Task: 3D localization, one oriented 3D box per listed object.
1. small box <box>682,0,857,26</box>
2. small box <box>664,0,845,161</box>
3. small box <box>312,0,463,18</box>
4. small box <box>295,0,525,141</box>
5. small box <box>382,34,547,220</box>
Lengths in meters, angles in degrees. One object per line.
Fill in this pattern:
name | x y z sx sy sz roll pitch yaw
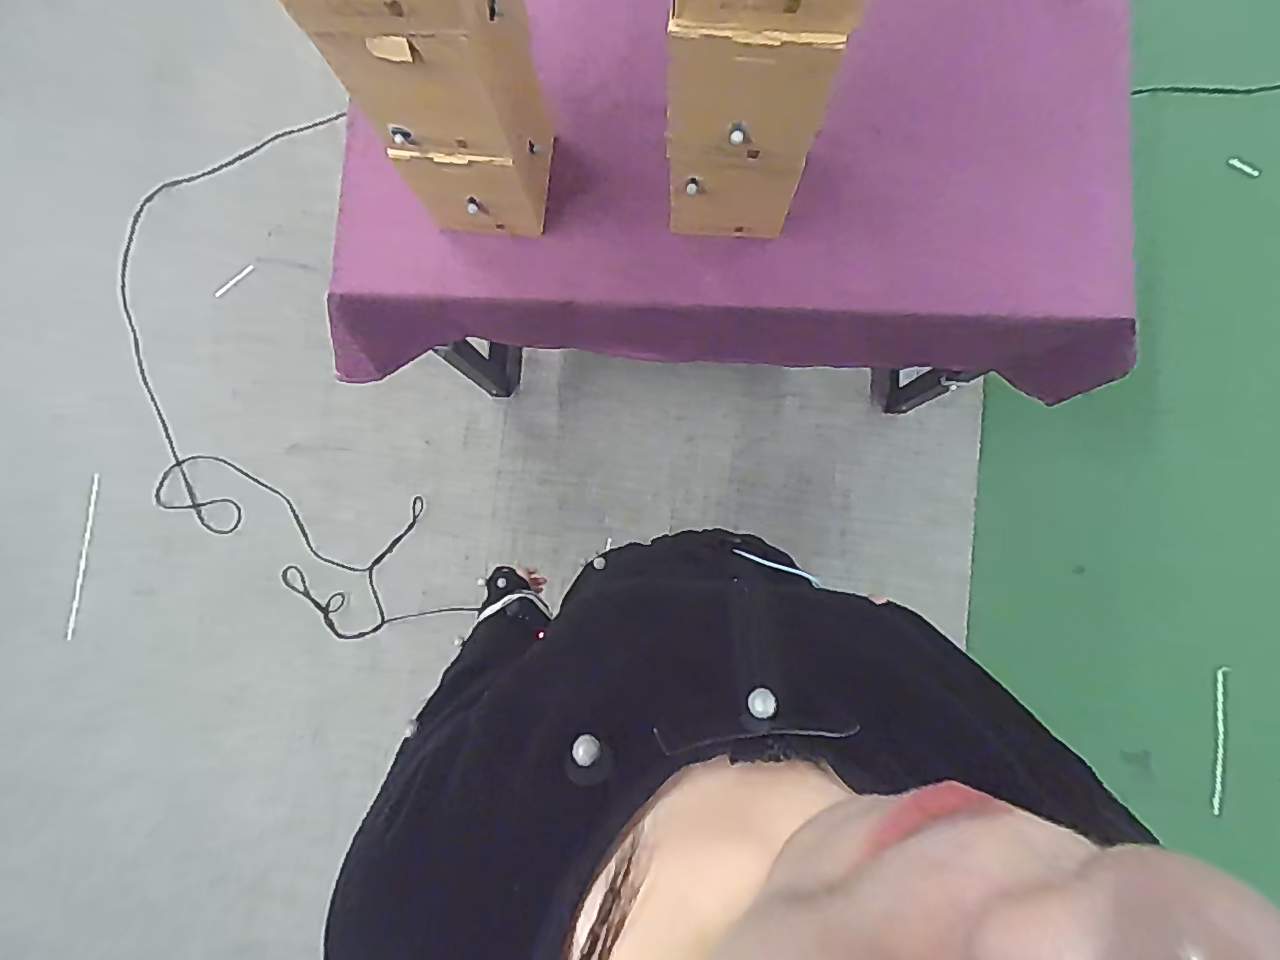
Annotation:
small box | 0.116 -0.509 0.417 0.168 0.176 0.179 5 86 2
small box | 0.117 -0.485 0.578 0.168 0.176 0.179 8 86 3
small box | -0.235 -0.518 0.427 0.168 0.176 0.179 4 85 1
small box | -0.232 -0.509 0.589 0.168 0.176 0.179 6 85 2
small box | -0.231 -0.489 0.753 0.168 0.176 0.179 6 86 1
